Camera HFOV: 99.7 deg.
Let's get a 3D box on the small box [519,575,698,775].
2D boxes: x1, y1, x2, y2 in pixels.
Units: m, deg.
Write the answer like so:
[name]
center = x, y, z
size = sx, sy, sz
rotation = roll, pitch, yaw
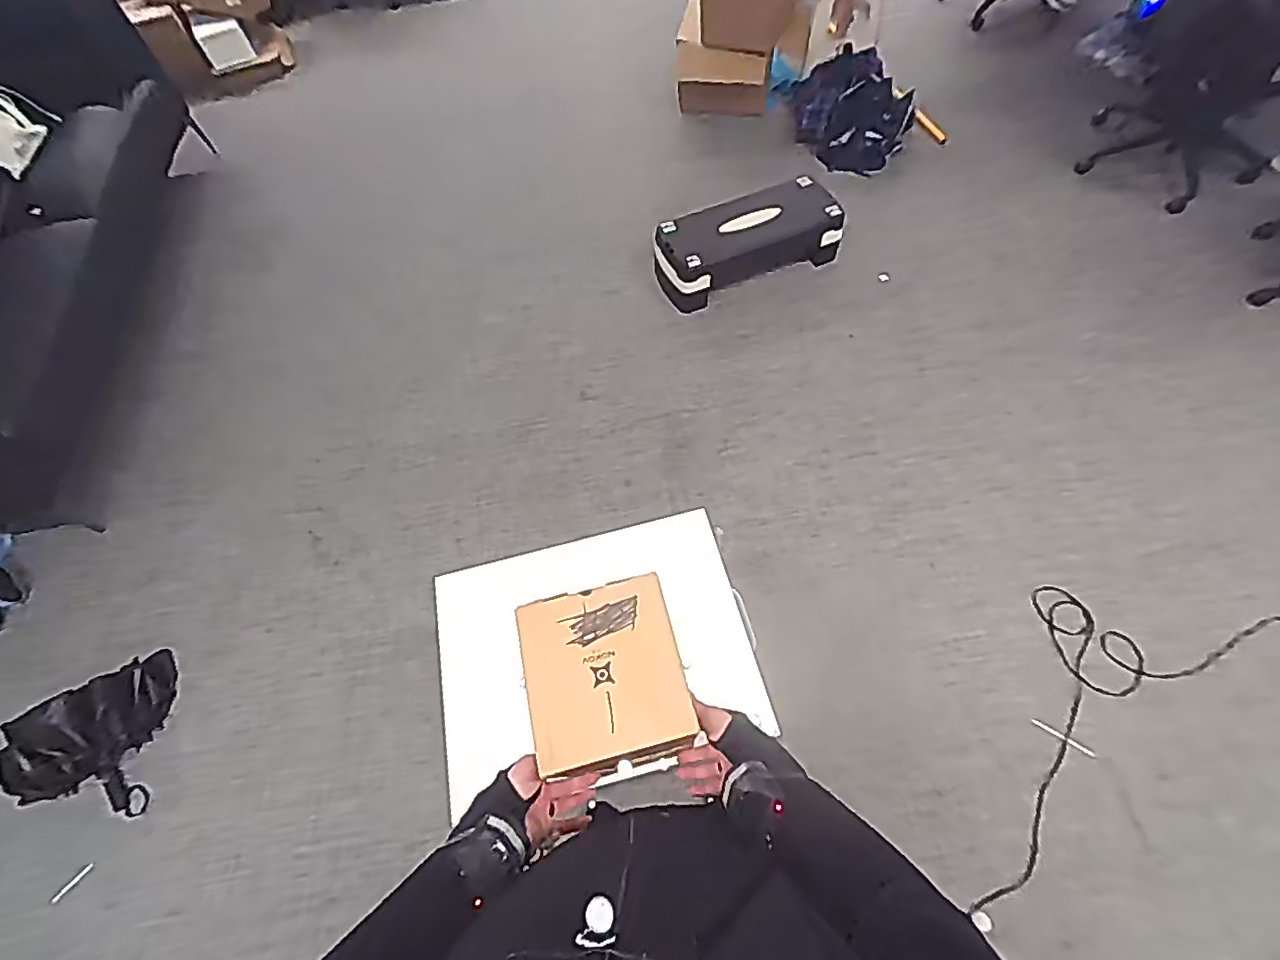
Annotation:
[small box]
center = -0.037, 0.237, 0.645
size = 0.168, 0.176, 0.179
rotation = -13, 62, -4
